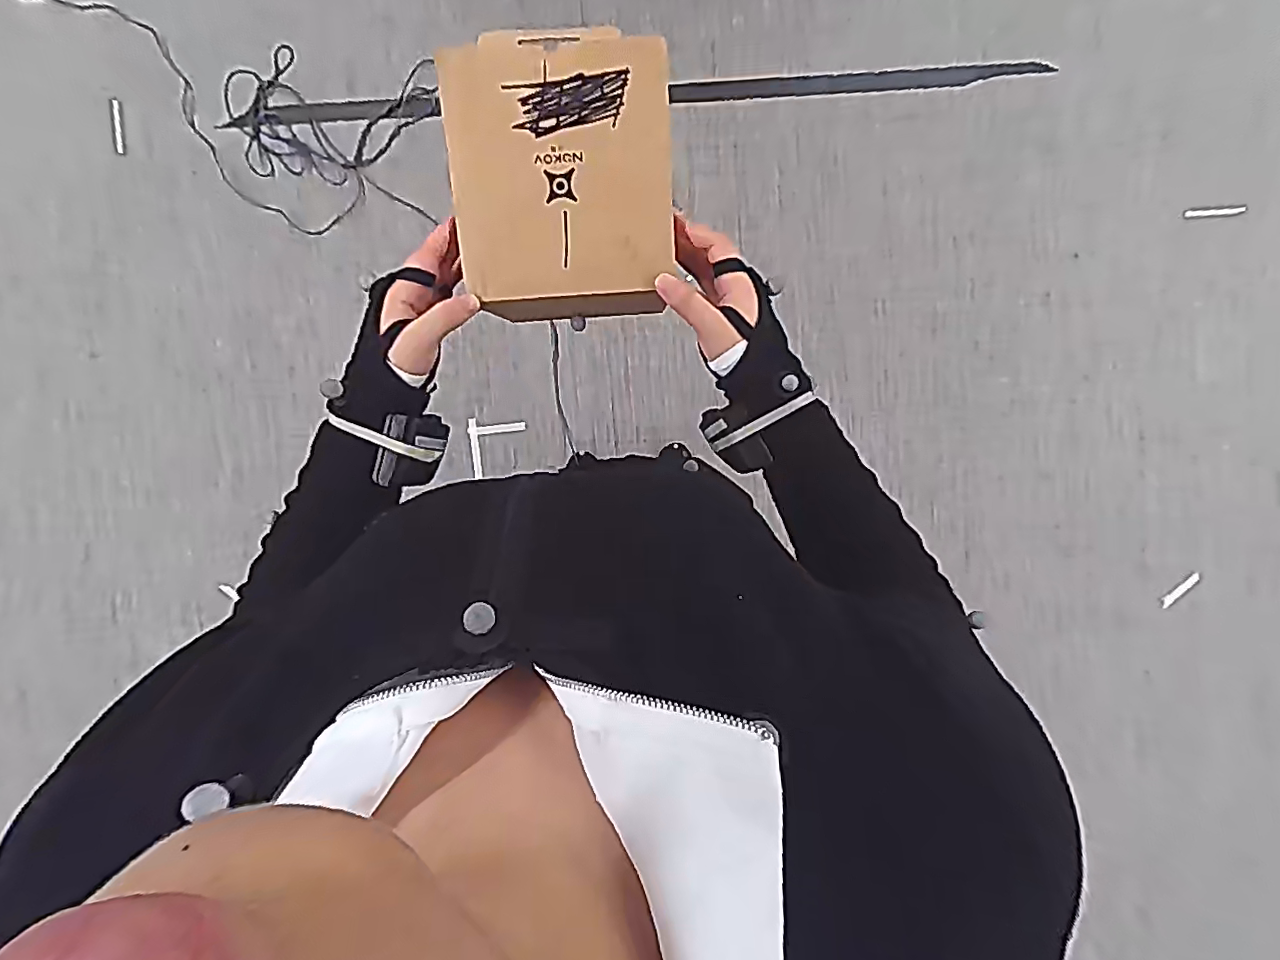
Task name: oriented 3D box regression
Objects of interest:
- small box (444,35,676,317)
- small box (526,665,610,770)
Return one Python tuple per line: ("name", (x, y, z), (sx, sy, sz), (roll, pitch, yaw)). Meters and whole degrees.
("small box", (-0.059, -0.249, 0.485), (0.168, 0.176, 0.179), (-4, 102, 0))
("small box", (-0.158, 0.536, 1.255), (0.168, 0.176, 0.179), (-6, 93, 0))
